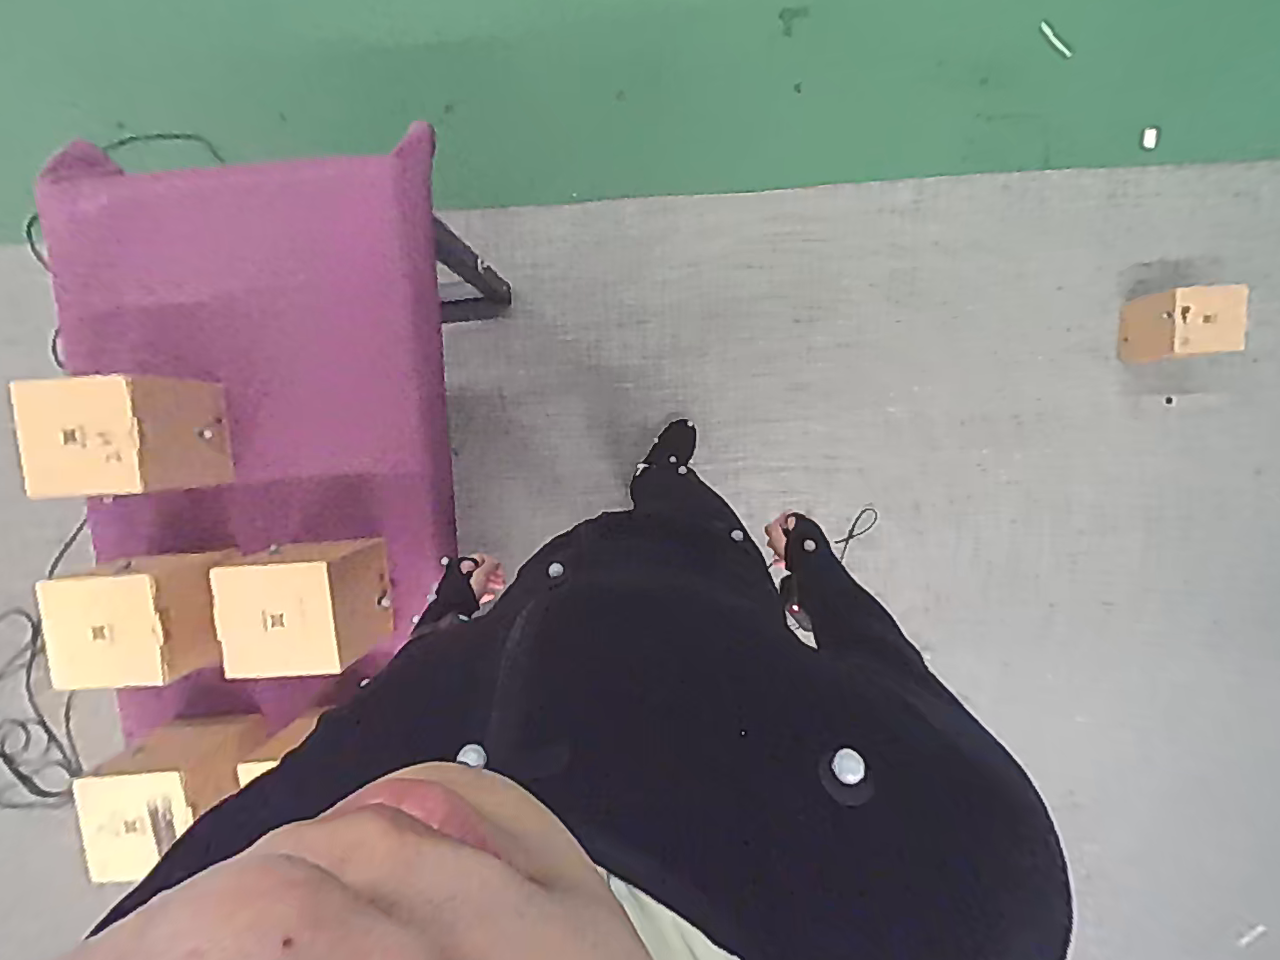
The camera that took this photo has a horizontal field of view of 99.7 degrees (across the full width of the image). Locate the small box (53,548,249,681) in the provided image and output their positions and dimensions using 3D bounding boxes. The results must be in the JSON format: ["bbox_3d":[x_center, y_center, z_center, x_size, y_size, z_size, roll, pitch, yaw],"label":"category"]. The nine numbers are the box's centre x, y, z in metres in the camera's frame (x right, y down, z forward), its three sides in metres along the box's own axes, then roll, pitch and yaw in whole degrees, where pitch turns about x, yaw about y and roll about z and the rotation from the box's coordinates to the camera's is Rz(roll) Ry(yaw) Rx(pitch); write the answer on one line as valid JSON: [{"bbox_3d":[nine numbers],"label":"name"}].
[{"bbox_3d":[-0.775,0.211,0.882,0.179,0.176,0.168,-4,95,3],"label":"small box"}]

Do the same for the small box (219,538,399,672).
[{"bbox_3d":[-0.516,0.191,0.864,0.179,0.176,0.168,-4,96,3],"label":"small box"}]

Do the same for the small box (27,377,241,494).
[{"bbox_3d":[-0.784,-0.069,0.855,0.179,0.176,0.168,-3,95,3],"label":"small box"}]

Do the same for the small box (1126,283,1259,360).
[{"bbox_3d":[1.443,-0.411,1.421,0.179,0.176,0.168,-2,94,2],"label":"small box"}]

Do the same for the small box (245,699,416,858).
[{"bbox_3d":[-0.488,0.476,0.884,0.179,0.176,0.168,-6,94,6],"label":"small box"}]
